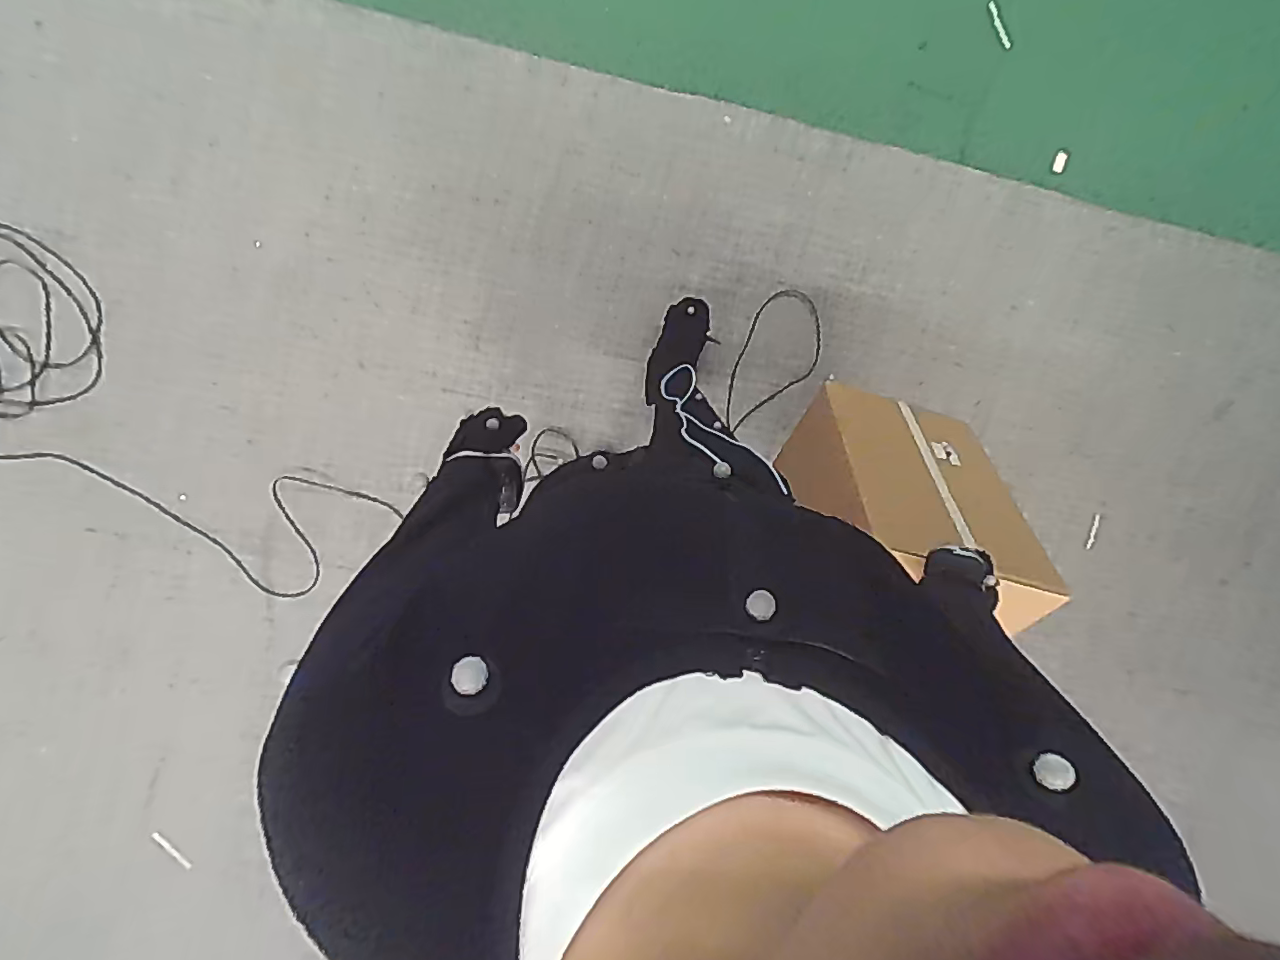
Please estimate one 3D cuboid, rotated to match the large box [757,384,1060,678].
[{"bbox_3d":[0.434,0.092,0.999,0.320,0.408,0.320,15,132,-9],"label":"large box"}]
